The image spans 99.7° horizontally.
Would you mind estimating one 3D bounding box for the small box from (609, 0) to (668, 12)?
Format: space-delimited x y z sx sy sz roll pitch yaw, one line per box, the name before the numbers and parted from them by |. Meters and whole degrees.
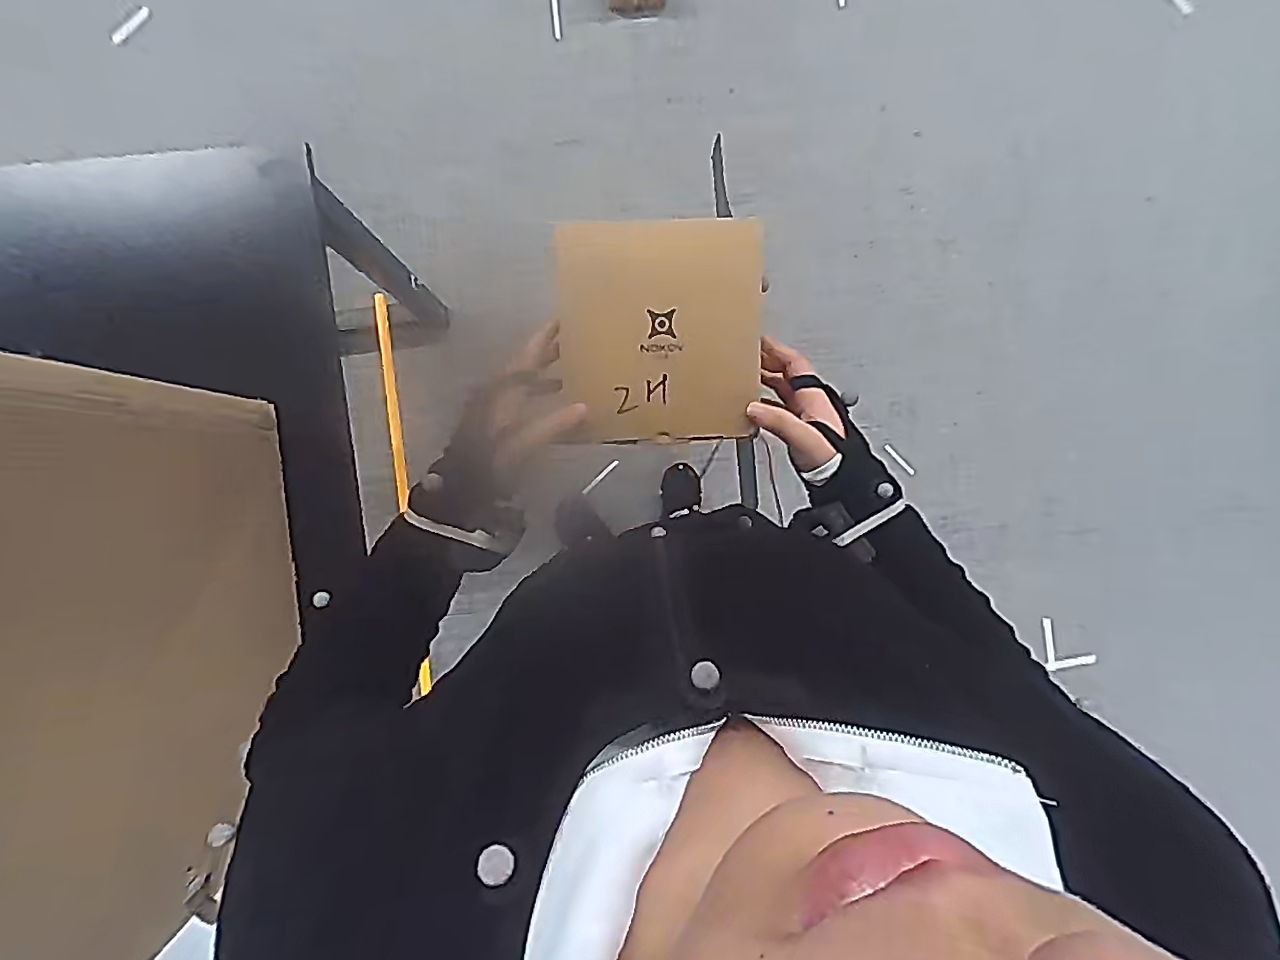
small box | -0.011 -1.367 1.390 0.168 0.176 0.179 -10 93 -2
